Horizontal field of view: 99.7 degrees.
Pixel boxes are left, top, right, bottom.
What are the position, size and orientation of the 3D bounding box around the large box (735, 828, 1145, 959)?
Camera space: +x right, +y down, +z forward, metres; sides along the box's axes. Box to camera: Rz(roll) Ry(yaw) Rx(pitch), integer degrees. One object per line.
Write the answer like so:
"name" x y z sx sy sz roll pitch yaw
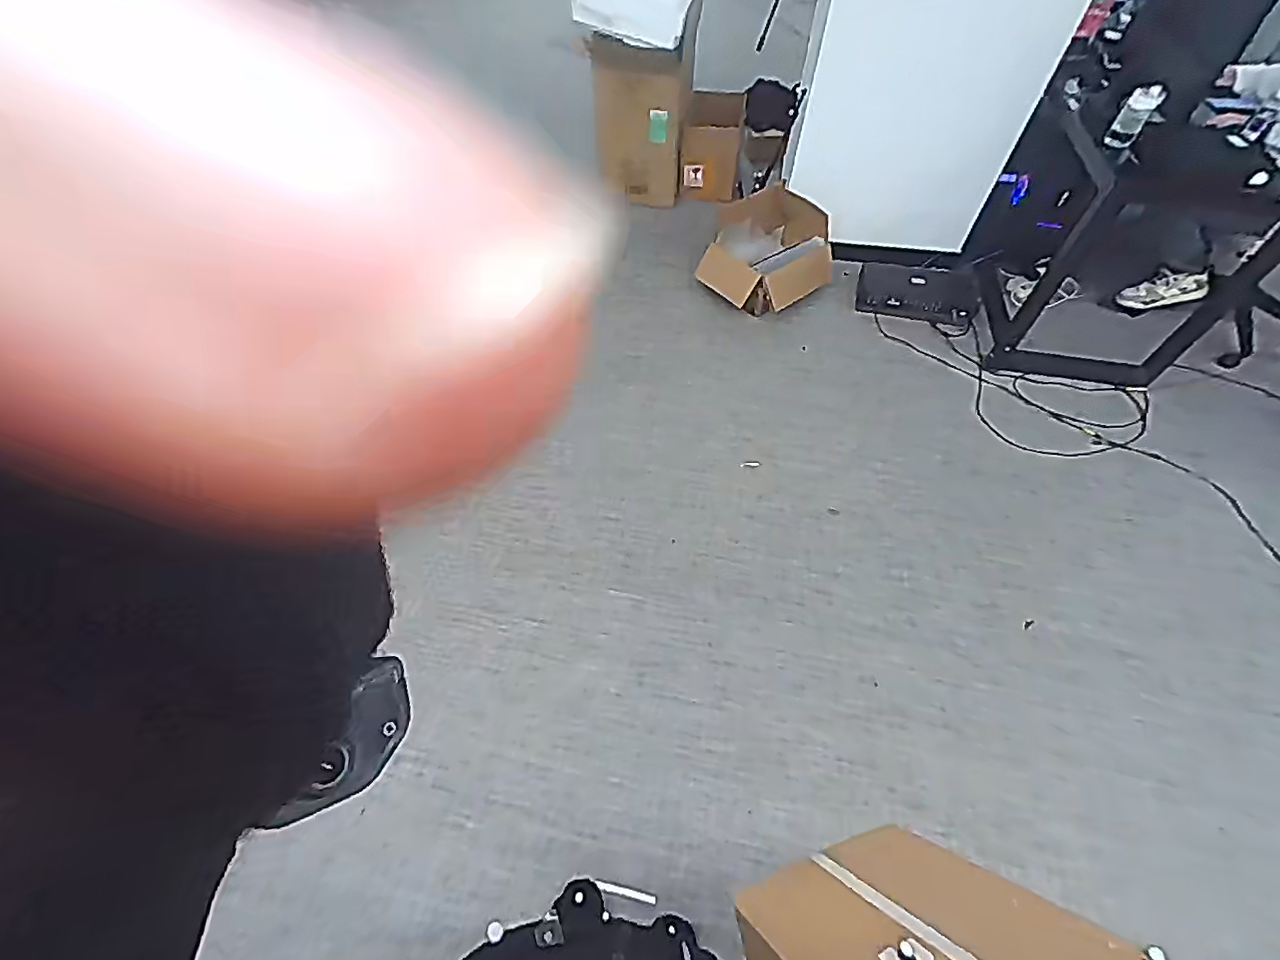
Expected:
"large box" 0.368 0.709 0.660 0.320 0.408 0.320 -11 79 -17
